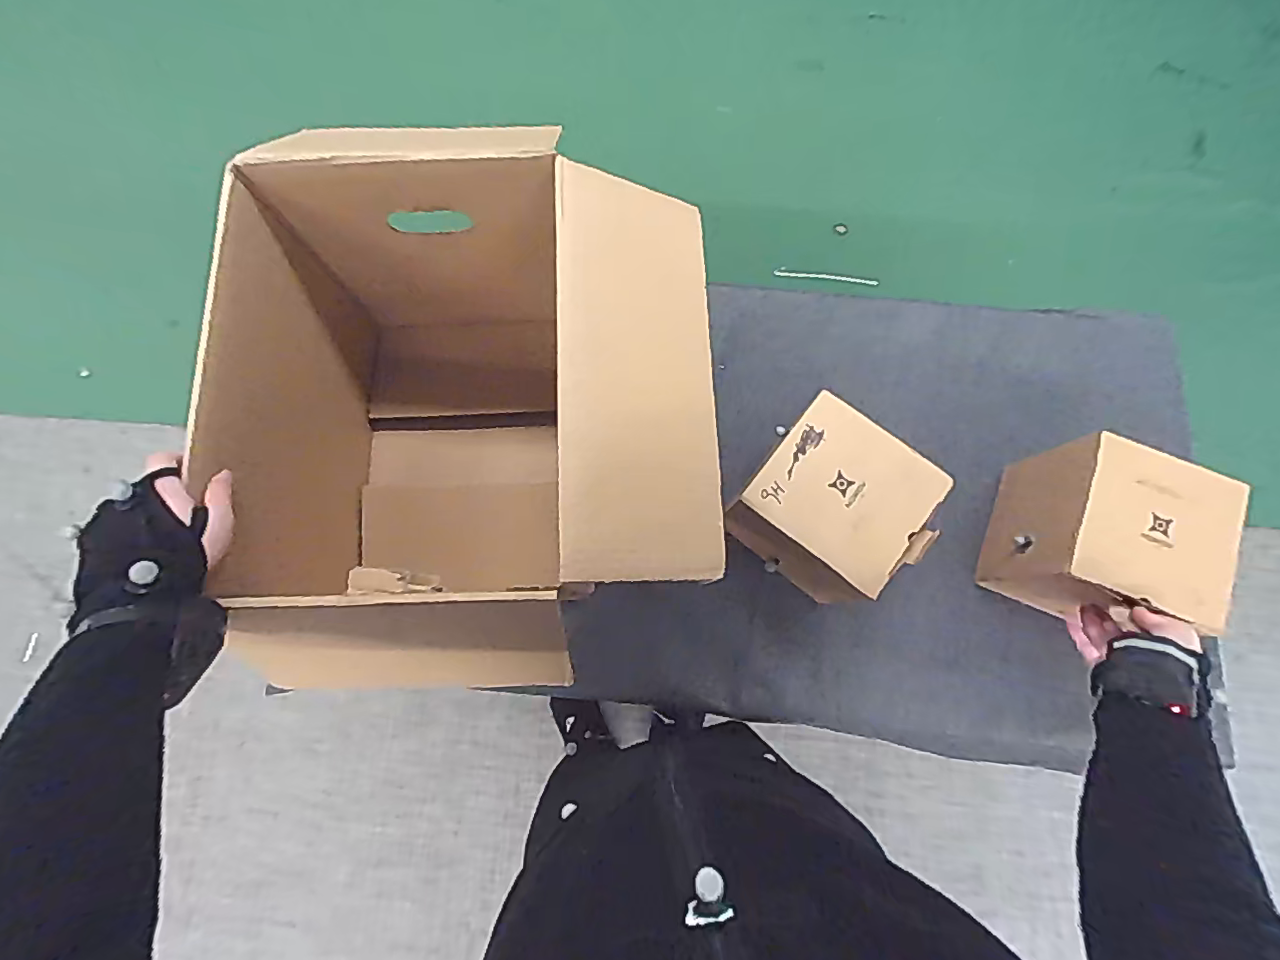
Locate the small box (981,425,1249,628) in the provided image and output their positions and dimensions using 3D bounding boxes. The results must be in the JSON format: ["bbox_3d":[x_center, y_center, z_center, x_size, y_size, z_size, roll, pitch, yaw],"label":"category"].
[{"bbox_3d":[0.557,0.063,0.659,0.168,0.176,0.179,22,78,4],"label":"small box"}]

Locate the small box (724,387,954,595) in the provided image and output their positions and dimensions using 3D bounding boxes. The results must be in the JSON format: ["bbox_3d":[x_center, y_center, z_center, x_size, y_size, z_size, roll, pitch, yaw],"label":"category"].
[{"bbox_3d":[0.228,0.022,0.668,0.179,0.176,0.168,39,79,7],"label":"small box"}]
